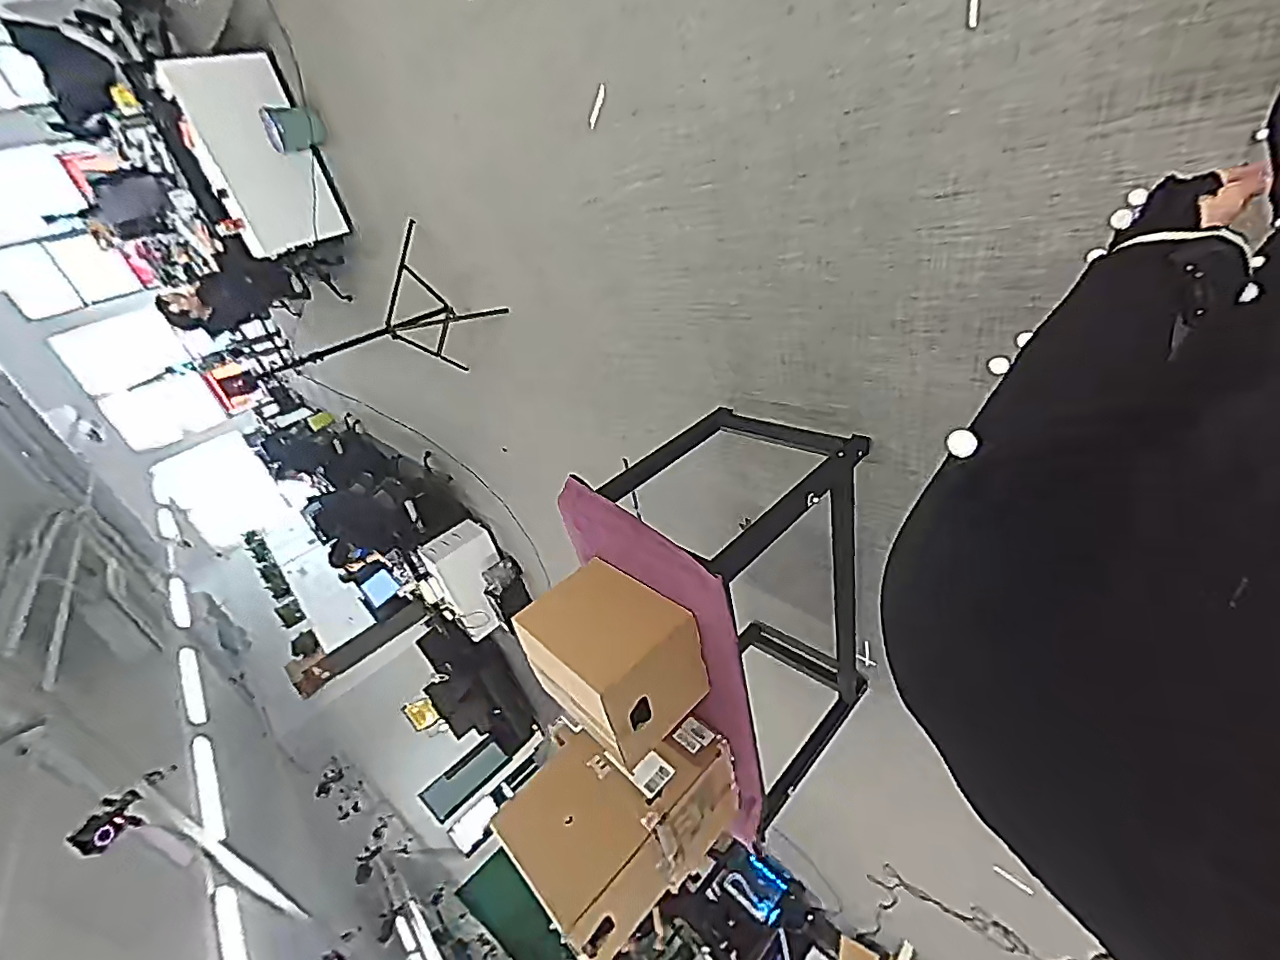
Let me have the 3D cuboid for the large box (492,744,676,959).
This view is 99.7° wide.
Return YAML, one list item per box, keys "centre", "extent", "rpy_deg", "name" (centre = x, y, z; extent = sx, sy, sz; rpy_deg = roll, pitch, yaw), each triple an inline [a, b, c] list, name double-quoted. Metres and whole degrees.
- centre: [-0.161, 1.077, 1.583]
  extent: [0.408, 0.320, 0.320]
  rpy_deg: [20, 136, 45]
  name: "large box"
